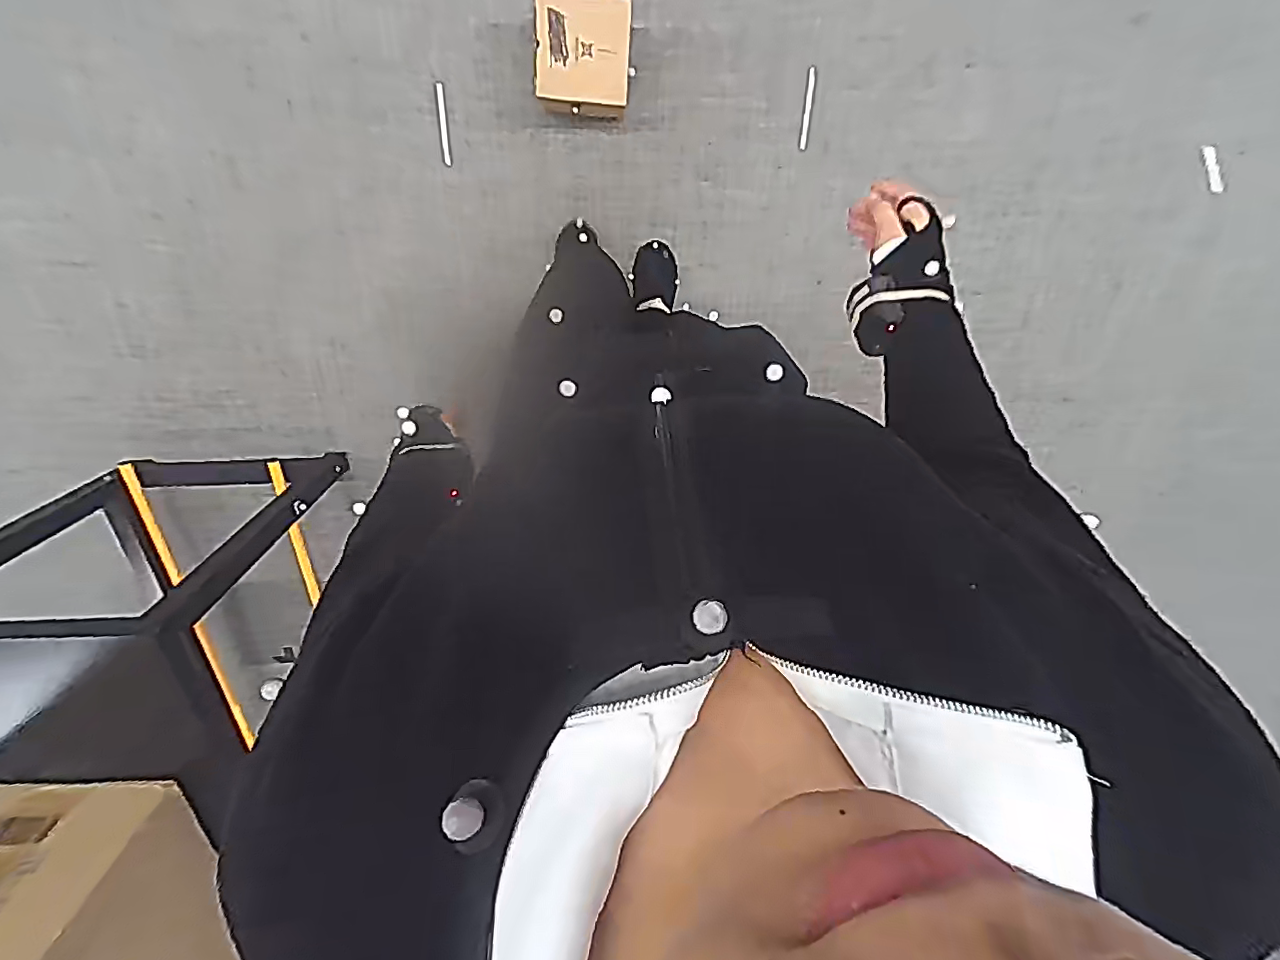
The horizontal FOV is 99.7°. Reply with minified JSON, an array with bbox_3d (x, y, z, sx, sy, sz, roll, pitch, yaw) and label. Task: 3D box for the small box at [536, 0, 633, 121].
[{"bbox_3d":[-0.109,-0.826,1.072,0.179,0.176,0.168,2,117,-6],"label":"small box"}]
